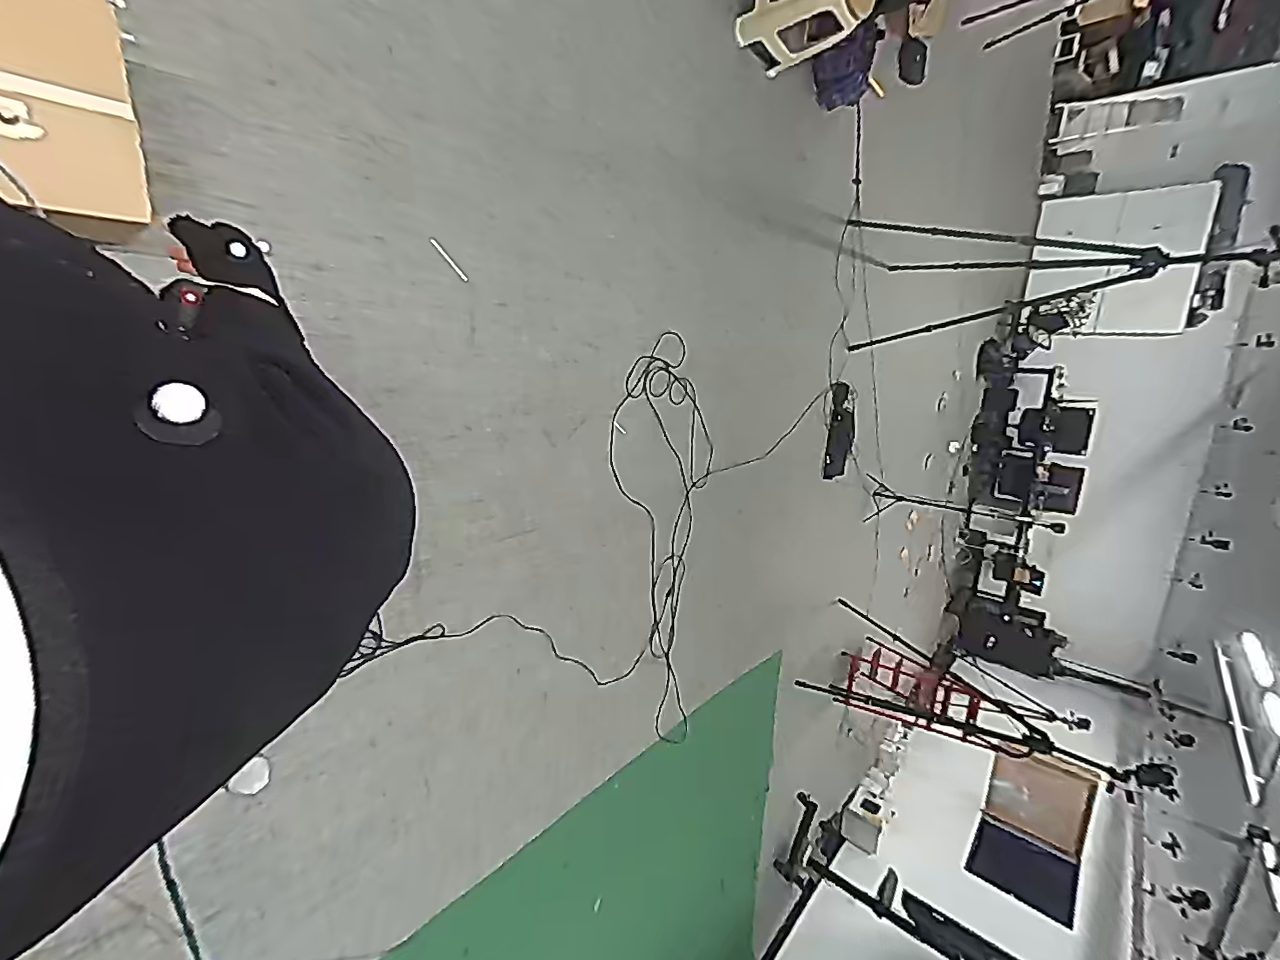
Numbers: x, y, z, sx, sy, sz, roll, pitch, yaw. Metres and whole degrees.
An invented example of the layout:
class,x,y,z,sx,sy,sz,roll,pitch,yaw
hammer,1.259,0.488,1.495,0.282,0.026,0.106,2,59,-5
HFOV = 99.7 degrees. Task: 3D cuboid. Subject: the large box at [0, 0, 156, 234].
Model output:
class,x,y,z,sx,sy,sz,roll,pitch,yaw
large box,-1.018,-0.567,0.785,0.408,0.320,0.320,-13,111,-46
